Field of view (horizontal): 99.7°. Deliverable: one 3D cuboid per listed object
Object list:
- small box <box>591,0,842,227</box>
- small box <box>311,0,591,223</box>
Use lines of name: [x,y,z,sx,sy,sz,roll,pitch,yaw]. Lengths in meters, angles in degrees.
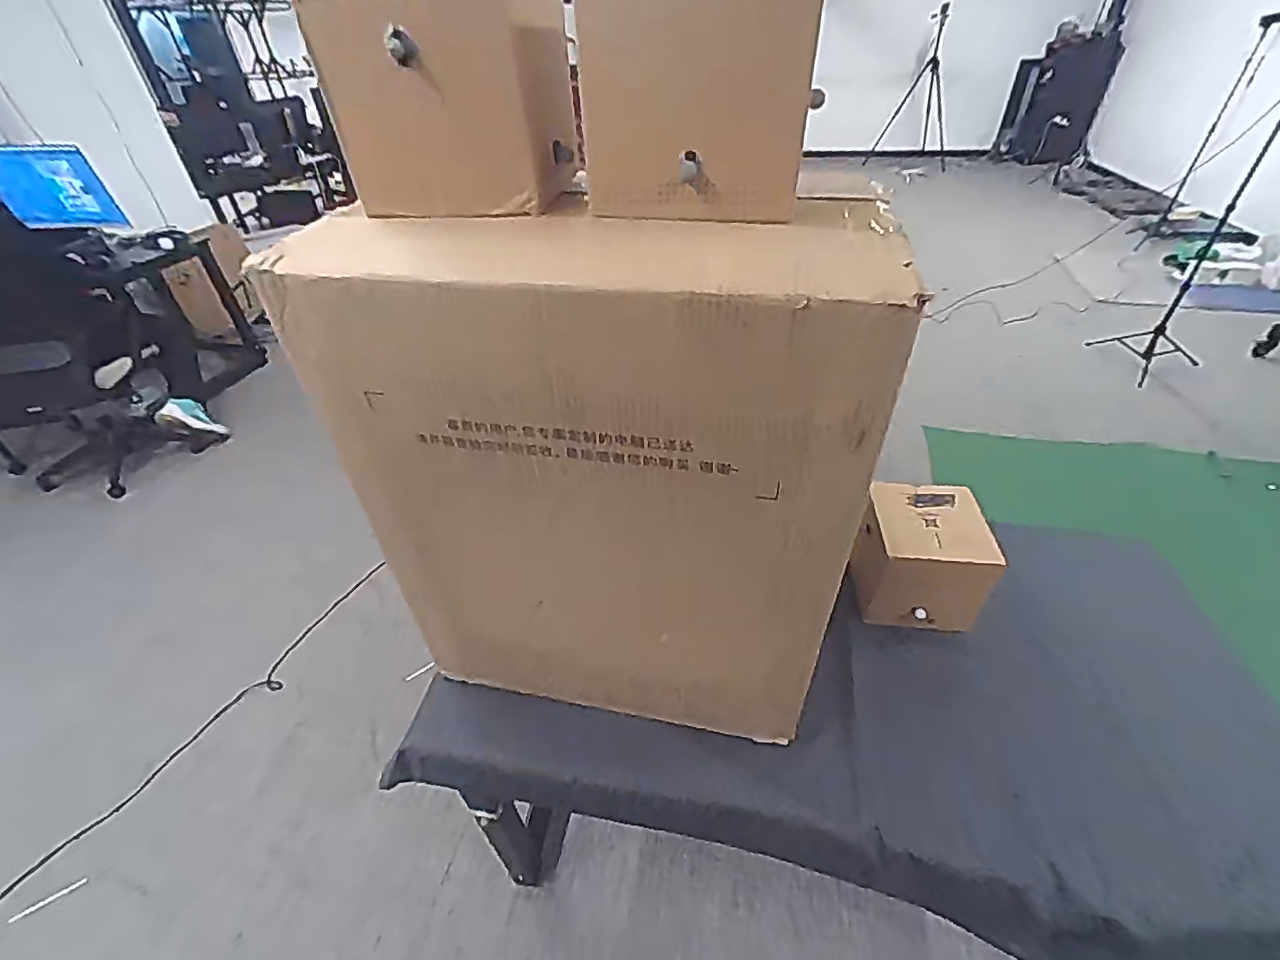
small box: [0.065,-0.333,0.475,0.179,0.176,0.168,7,41,9]
small box: [-0.153,-0.355,0.512,0.179,0.176,0.168,5,43,8]
